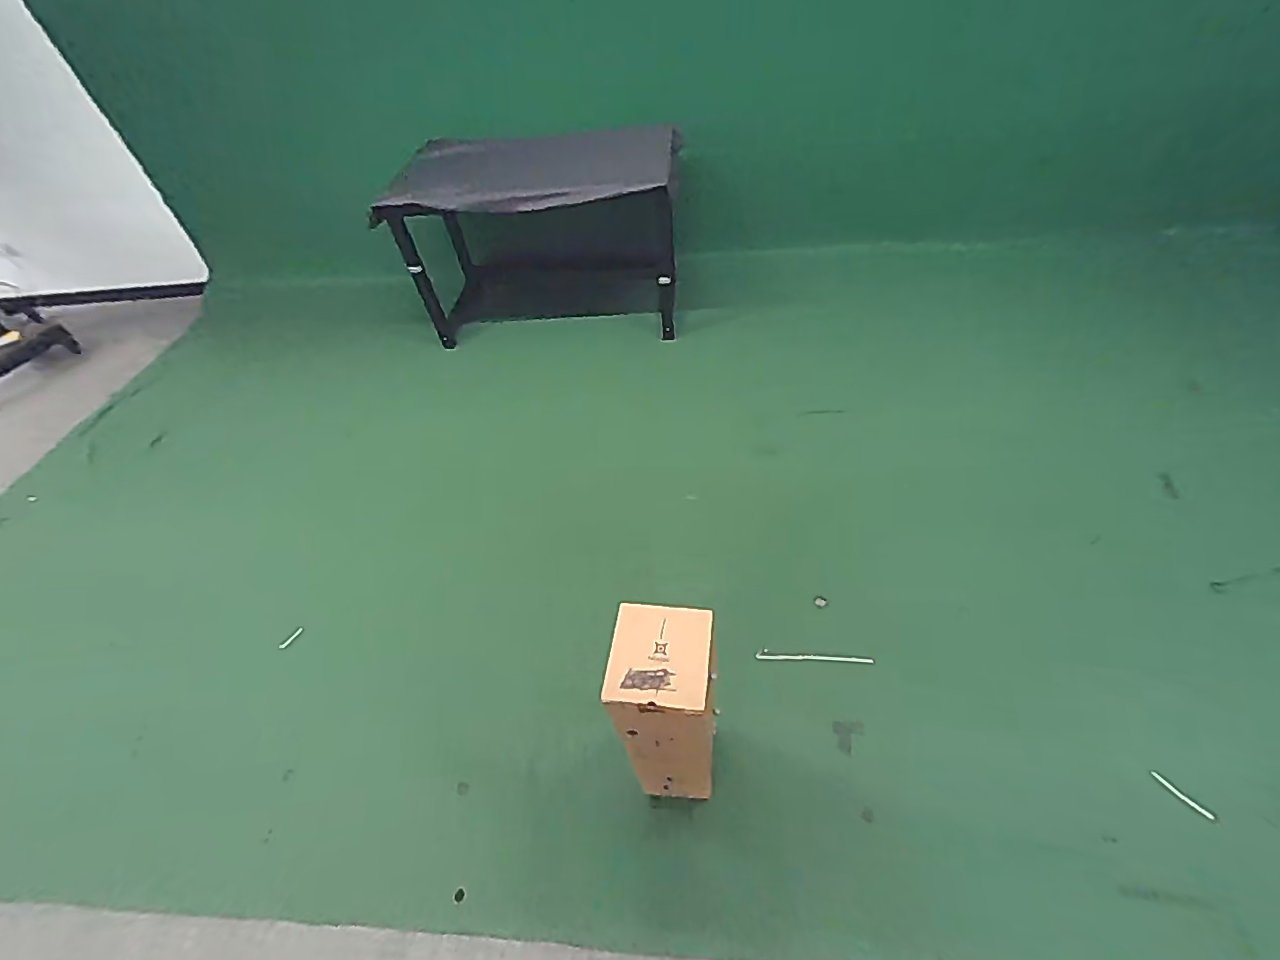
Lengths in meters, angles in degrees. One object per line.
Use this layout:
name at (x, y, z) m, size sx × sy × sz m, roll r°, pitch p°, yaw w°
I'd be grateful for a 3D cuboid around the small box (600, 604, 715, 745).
small box at (0.041, 0.339, 0.938) m, size 0.168 × 0.176 × 0.179 m, roll 3°, pitch 48°, yaw 11°

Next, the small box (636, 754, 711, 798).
small box at (0.088, 0.656, 1.313) m, size 0.168 × 0.176 × 0.179 m, roll -1°, pitch 47°, yaw 8°

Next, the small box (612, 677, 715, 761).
small box at (0.055, 0.440, 1.067) m, size 0.179 × 0.176 × 0.168 m, roll 1°, pitch 49°, yaw 10°
